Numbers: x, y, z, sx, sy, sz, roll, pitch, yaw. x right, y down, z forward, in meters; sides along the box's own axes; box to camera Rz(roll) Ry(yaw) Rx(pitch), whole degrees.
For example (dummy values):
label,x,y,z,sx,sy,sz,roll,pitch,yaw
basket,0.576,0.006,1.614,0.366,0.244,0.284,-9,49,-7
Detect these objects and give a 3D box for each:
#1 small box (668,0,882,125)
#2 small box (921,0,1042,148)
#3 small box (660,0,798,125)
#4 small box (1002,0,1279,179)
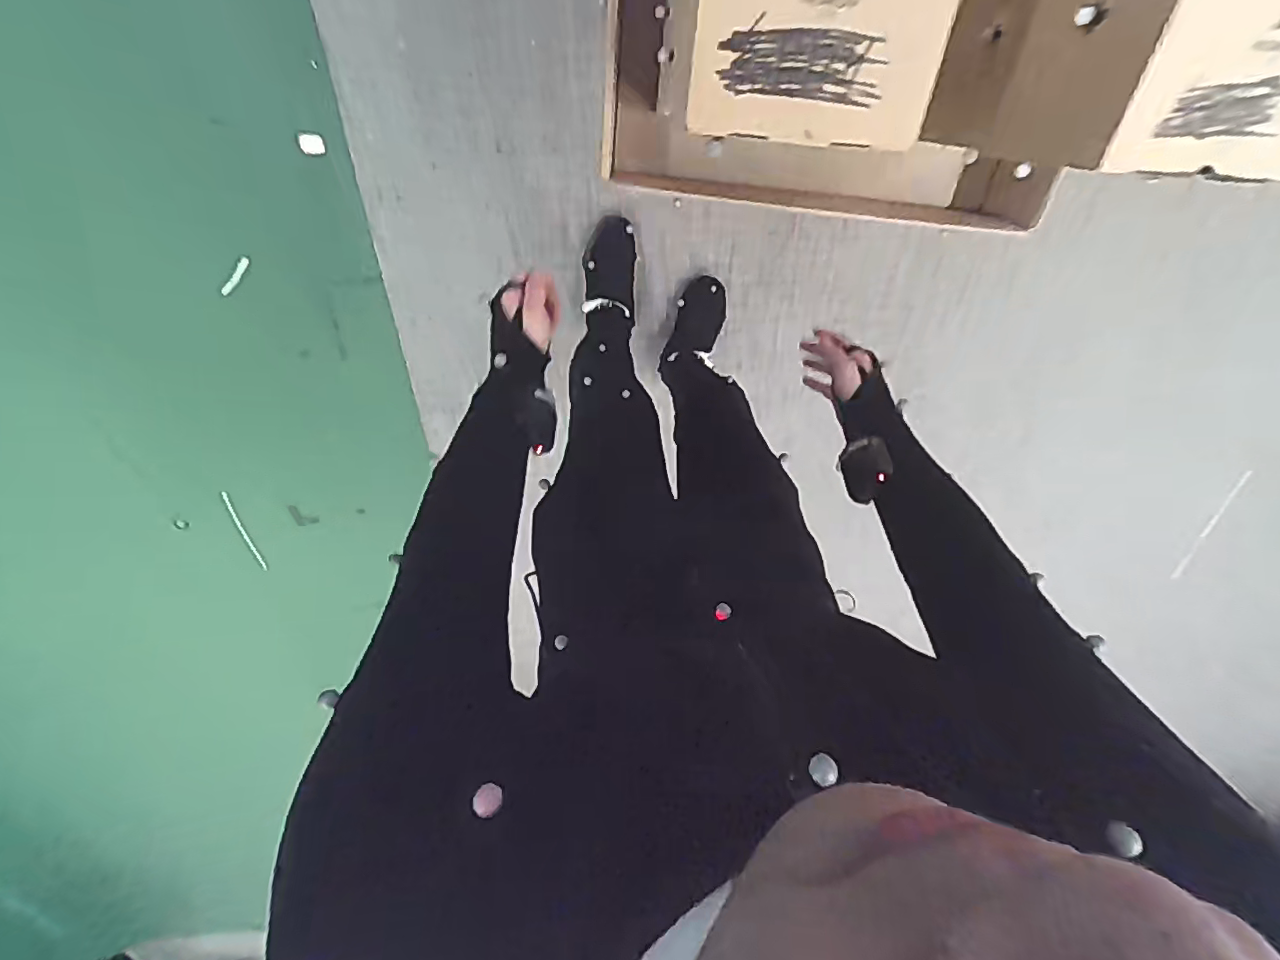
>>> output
label,x,y,z,sx,sy,sz,roll,pitch,yaw
small box,0.122,-0.458,0.522,0.168,0.176,0.179,4,125,-5
small box,0.420,-0.441,0.546,0.168,0.176,0.179,2,125,-3
small box,0.117,-0.546,0.657,0.168,0.176,0.179,5,124,-4
small box,0.424,-0.343,0.415,0.168,0.176,0.179,2,124,-3
